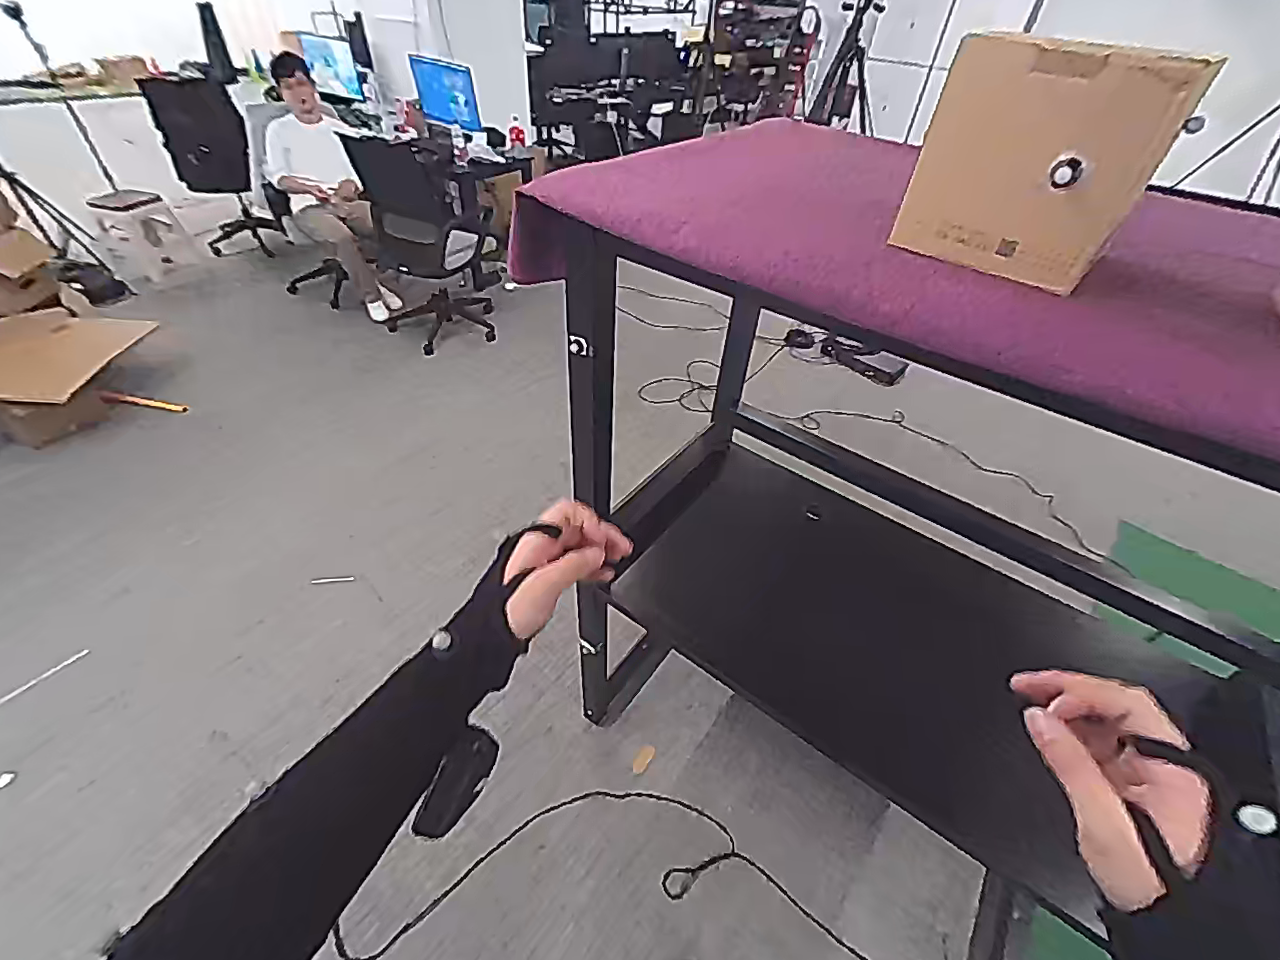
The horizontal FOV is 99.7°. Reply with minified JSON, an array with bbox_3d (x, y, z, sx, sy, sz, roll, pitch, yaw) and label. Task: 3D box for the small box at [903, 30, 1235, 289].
[{"bbox_3d":[0.372,-0.294,0.496,0.168,0.176,0.179,35,51,28],"label":"small box"}]
